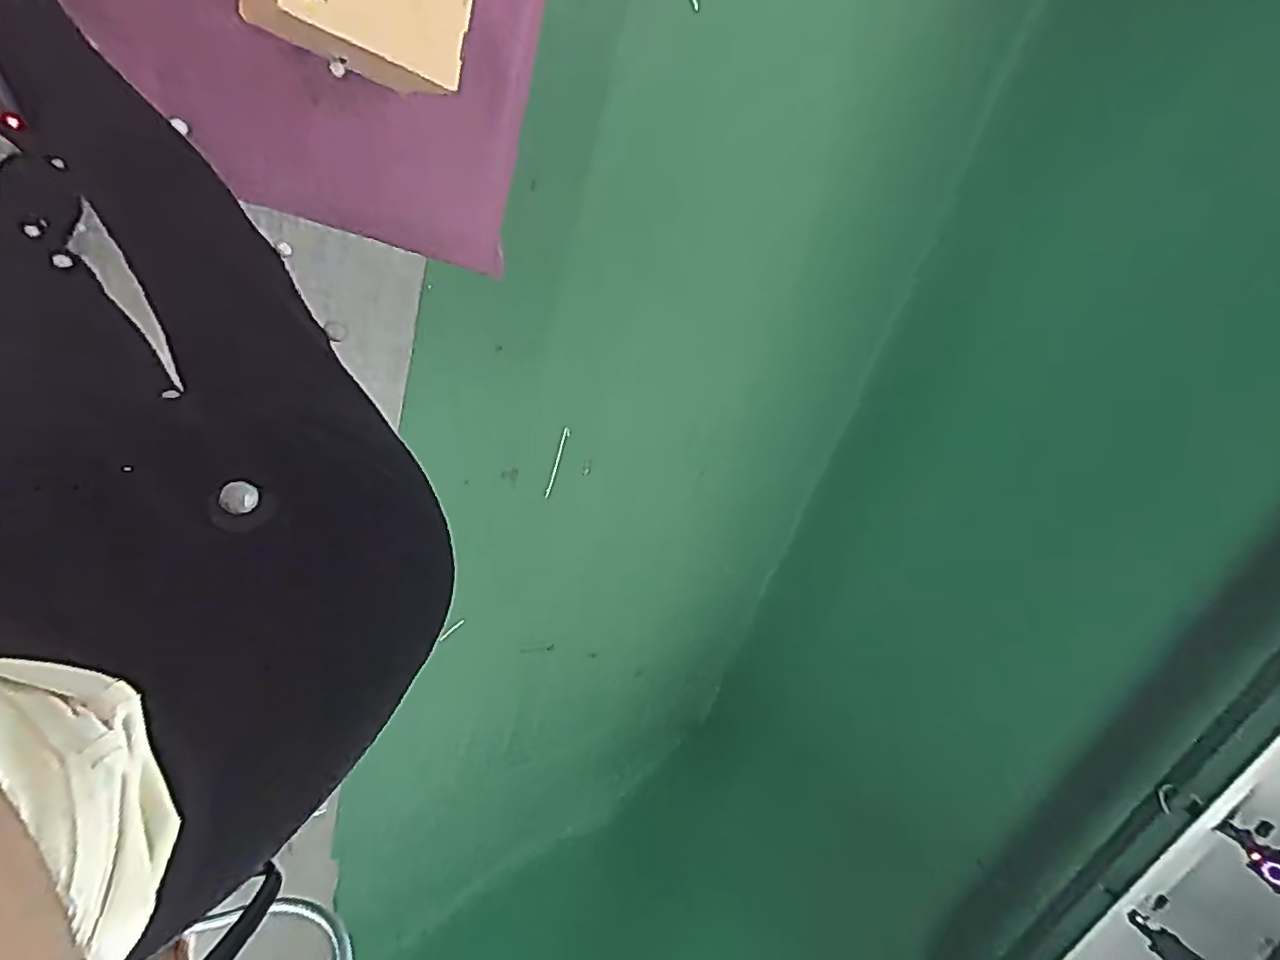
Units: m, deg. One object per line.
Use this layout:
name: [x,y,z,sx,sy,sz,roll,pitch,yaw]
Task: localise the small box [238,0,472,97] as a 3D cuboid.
small box: [-0.295,-0.536,0.566,0.179,0.176,0.168,-5,120,-46]
